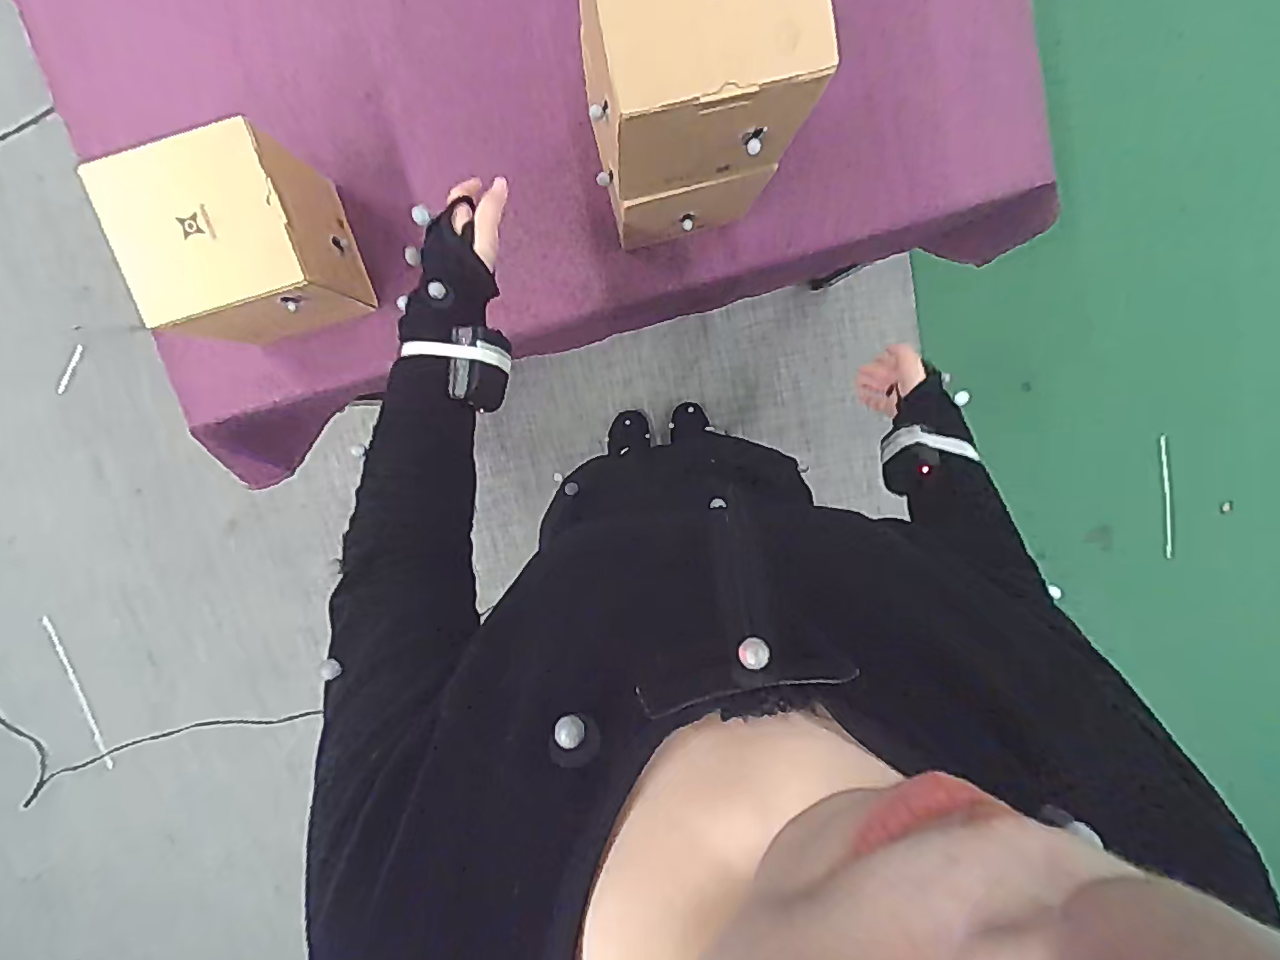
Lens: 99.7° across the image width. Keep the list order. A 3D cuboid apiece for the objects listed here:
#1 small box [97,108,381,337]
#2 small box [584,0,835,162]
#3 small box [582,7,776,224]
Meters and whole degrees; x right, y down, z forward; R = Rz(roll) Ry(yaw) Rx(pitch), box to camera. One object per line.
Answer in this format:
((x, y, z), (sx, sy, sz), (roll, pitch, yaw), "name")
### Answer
((-0.444, -0.279, 0.631), (0.179, 0.176, 0.168), (-19, 97, 0), "small box")
((0.044, -0.404, 0.465), (0.168, 0.176, 0.179), (-14, 97, 0), "small box")
((0.040, -0.420, 0.627), (0.168, 0.176, 0.179), (-16, 97, 0), "small box")
